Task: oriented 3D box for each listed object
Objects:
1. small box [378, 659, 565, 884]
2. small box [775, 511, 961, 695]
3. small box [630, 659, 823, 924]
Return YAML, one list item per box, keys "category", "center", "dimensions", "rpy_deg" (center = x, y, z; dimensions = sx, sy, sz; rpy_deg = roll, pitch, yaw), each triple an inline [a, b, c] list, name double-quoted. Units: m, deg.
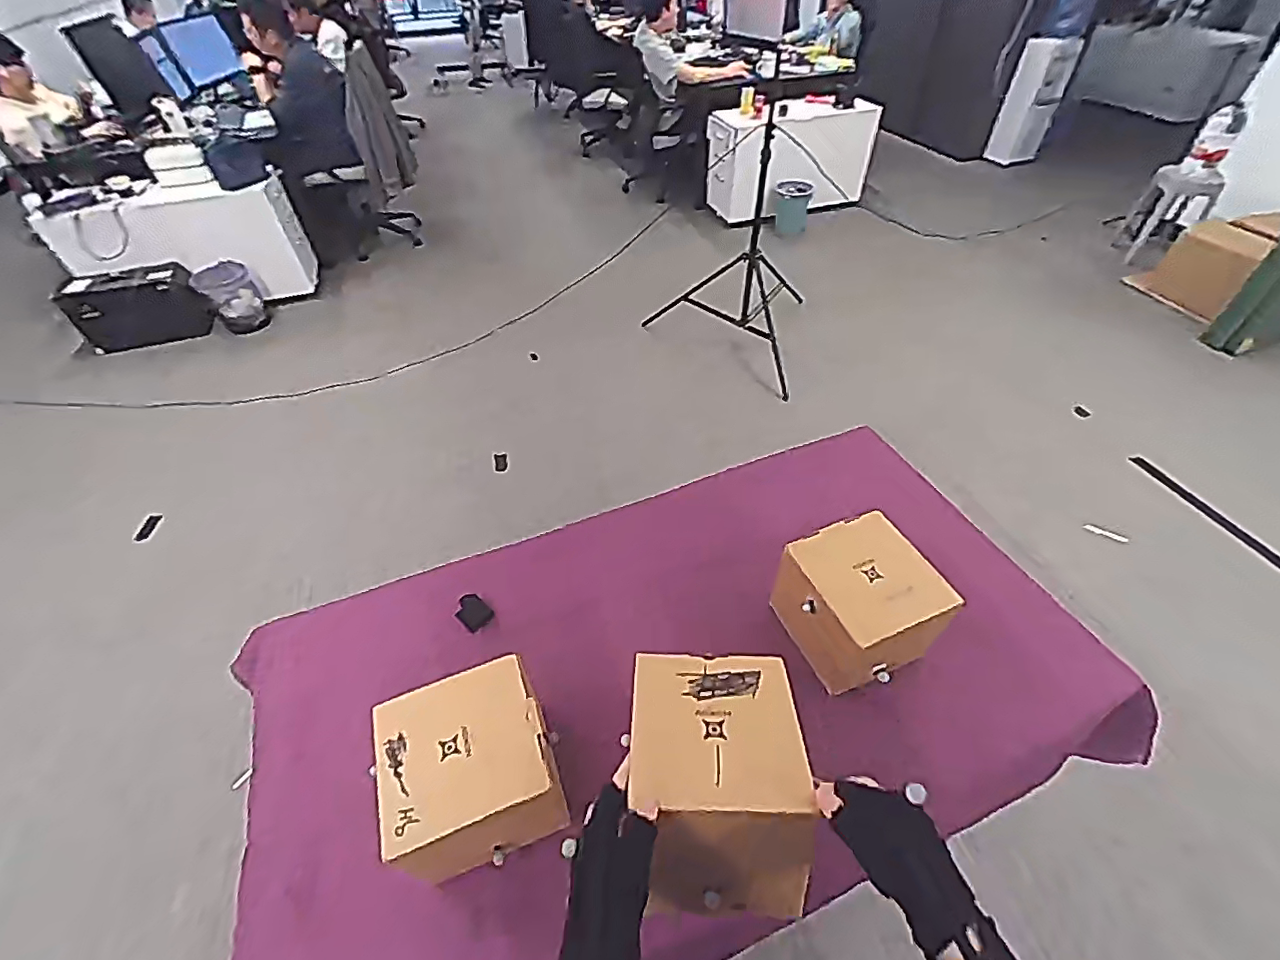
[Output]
- category: "small box"
  center: [-0.196, 0.353, 0.658]
  dimensions: [0.179, 0.176, 0.168]
  rpy_deg: [-17, 48, -14]
- category: "small box"
  center: [0.319, 0.182, 0.803]
  dimensions: [0.168, 0.176, 0.179]
  rpy_deg: [-19, 49, -14]
- category: "small box"
  center: [0.079, 0.314, 0.564]
  dimensions: [0.168, 0.176, 0.179]
  rpy_deg: [0, 27, 4]
